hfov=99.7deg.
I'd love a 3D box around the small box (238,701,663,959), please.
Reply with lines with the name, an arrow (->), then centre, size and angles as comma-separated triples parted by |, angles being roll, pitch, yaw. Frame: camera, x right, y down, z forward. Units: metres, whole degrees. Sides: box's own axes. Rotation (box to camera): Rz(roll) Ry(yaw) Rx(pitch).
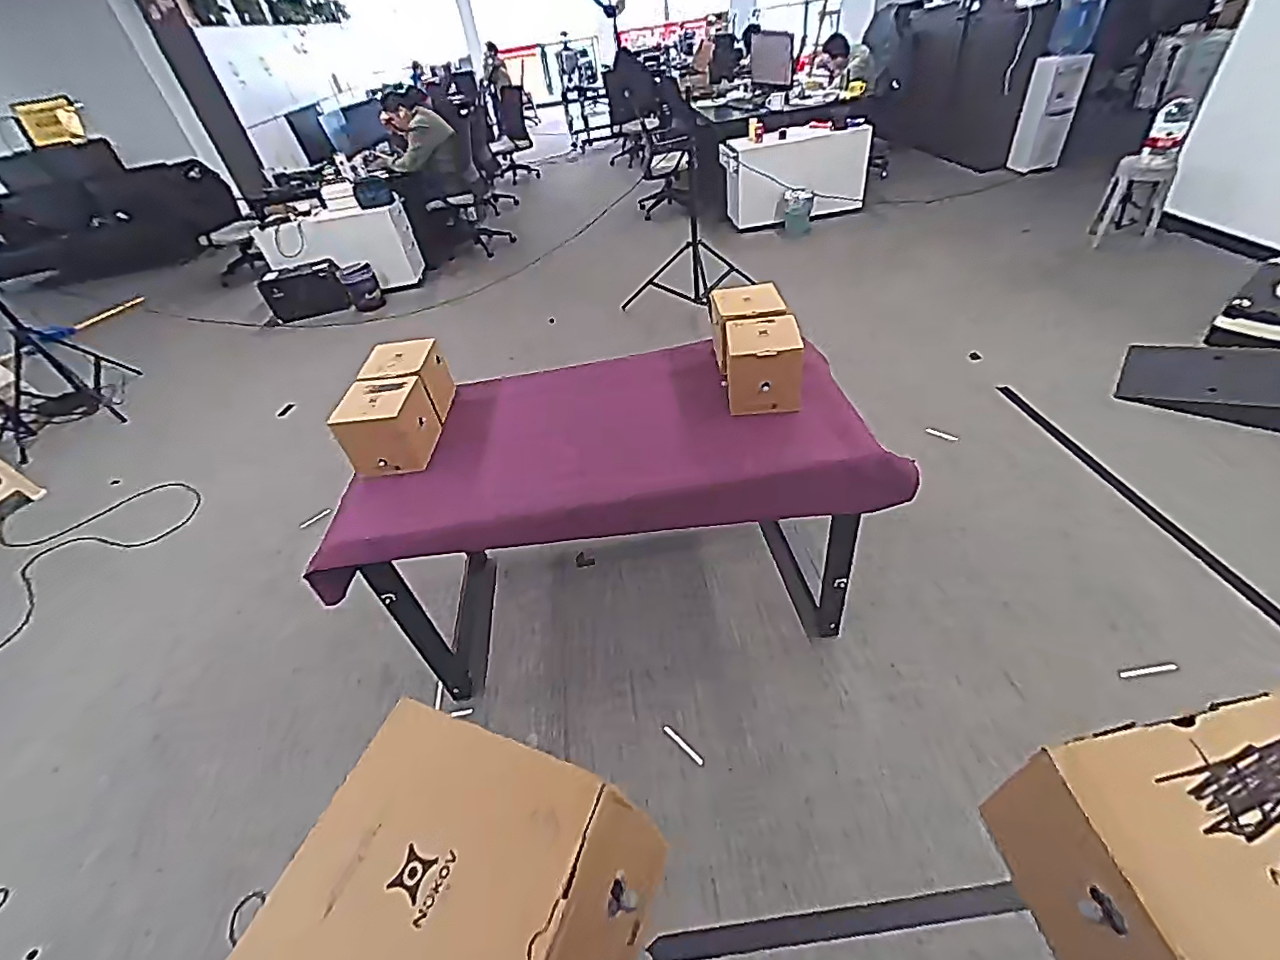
small box -> -0.101, 0.281, 0.362 | 0.179, 0.176, 0.168 | 6, 48, 26

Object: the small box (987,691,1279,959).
small box -> 0.349, 0.256, 0.322 | 0.168, 0.176, 0.179 | -15, 47, 3

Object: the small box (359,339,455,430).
small box -> -0.618, -0.257, 1.460 | 0.168, 0.176, 0.179 | -7, 42, 3

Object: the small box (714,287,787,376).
small box -> 0.290, -0.401, 1.459 | 0.168, 0.176, 0.179 | -6, 41, 2
